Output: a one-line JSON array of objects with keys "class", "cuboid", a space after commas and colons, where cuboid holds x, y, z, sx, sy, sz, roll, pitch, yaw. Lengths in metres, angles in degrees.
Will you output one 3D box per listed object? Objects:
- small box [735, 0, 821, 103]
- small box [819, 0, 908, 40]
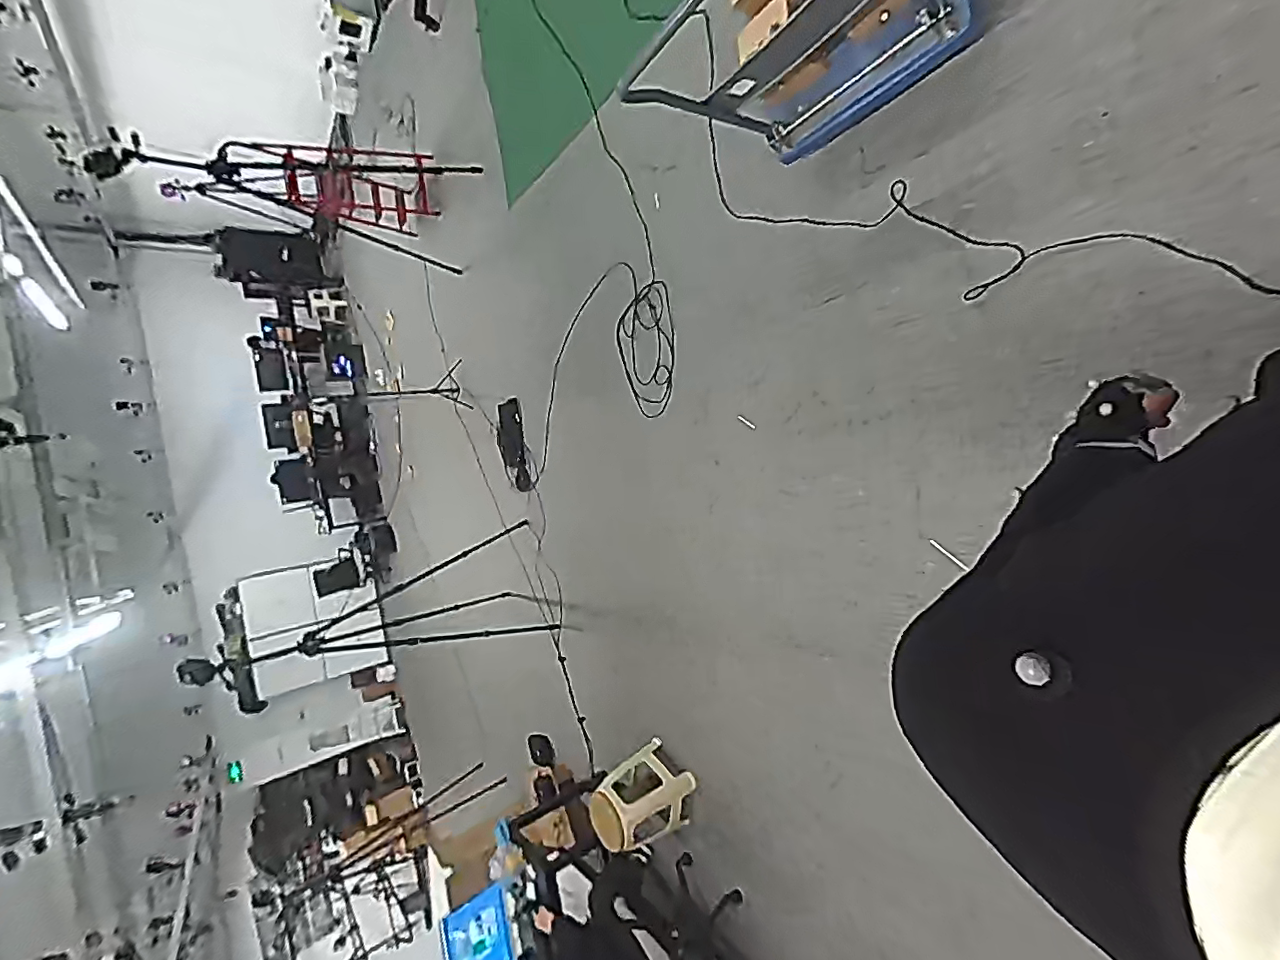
[{"class": "small box", "cuboid": [0.399, -1.222, 1.539, 0.179, 0.176, 0.168, -4, 95, 53]}, {"class": "small box", "cuboid": [0.555, -1.245, 1.329, 0.179, 0.176, 0.168, -12, 89, 53]}]
